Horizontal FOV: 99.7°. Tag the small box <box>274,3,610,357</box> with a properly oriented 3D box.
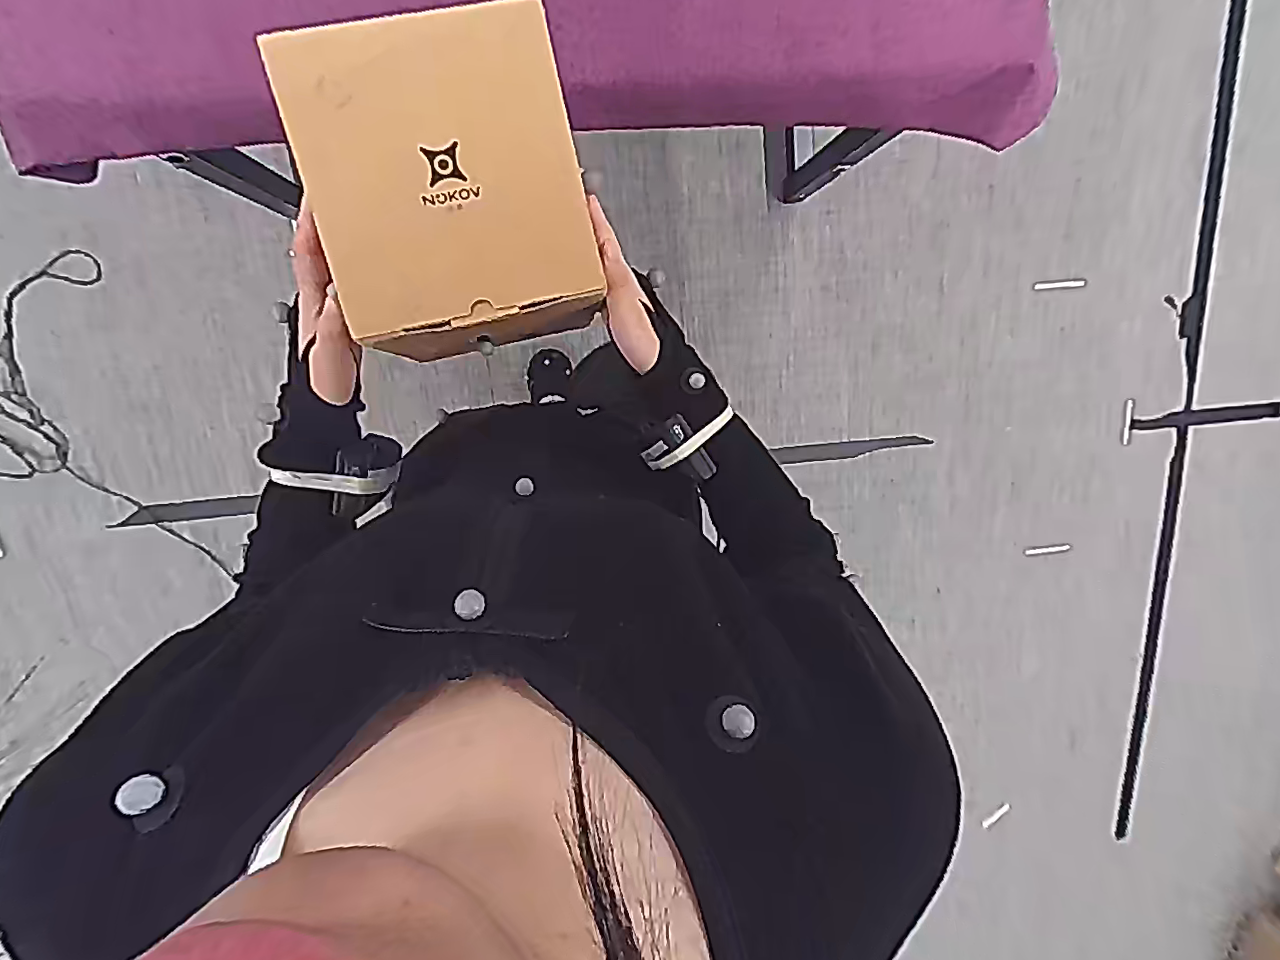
[{"bbox_3d":[-0.129,-0.202,0.414,0.168,0.176,0.179,-15,101,-7],"label":"small box"}]
